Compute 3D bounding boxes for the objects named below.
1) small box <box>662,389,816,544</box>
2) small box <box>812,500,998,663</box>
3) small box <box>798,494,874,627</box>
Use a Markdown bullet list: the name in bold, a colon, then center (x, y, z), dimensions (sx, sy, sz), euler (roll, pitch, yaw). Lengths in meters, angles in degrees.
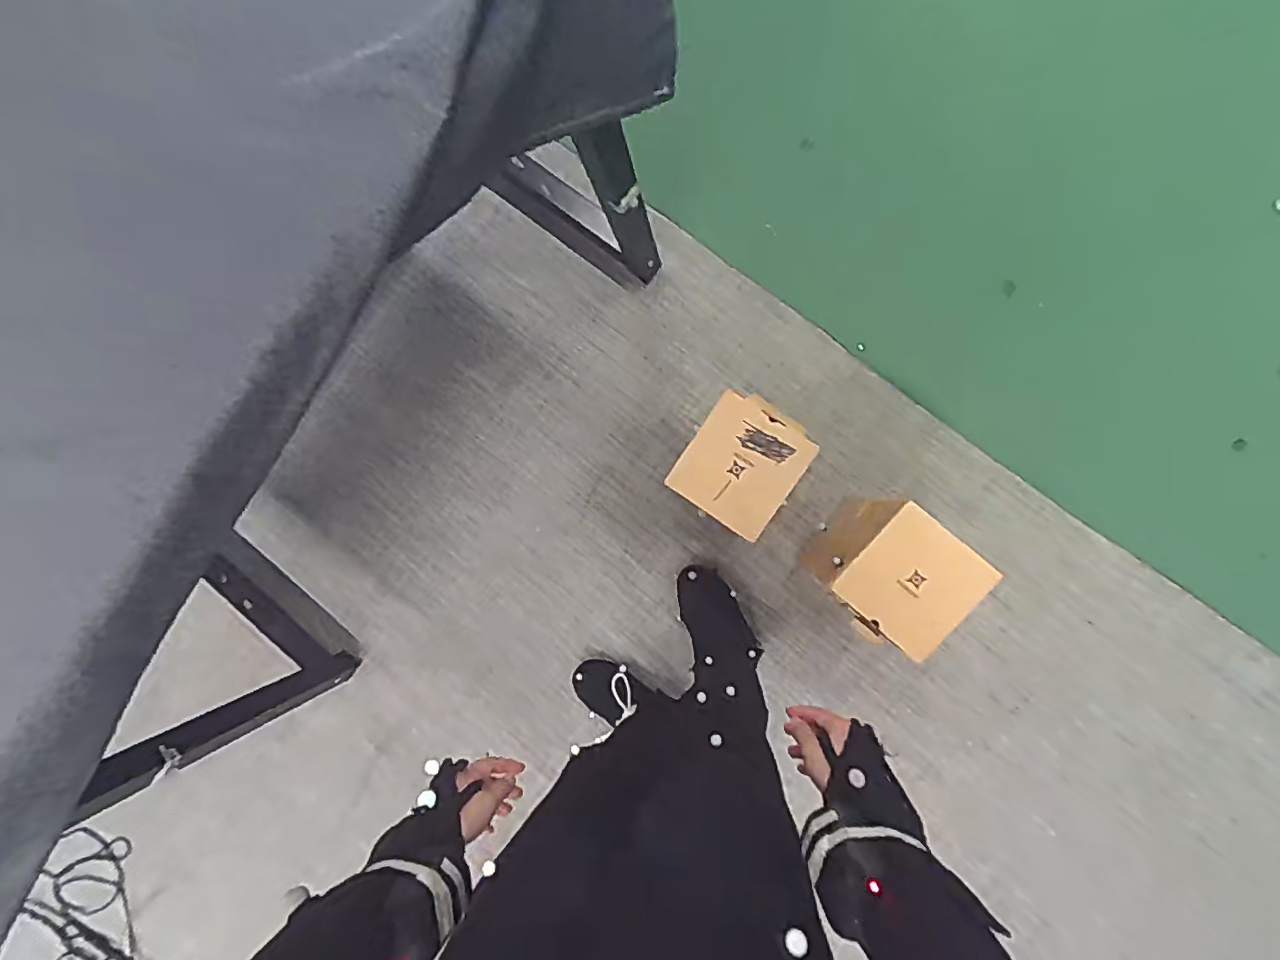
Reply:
- **small box**: center (0.155, -0.021, 0.880), dimensions (0.168, 0.176, 0.179), euler (35, 95, 8)
- **small box**: center (0.394, 0.143, 0.844), dimensions (0.168, 0.176, 0.179), euler (41, 95, 6)
- **small box**: center (0.414, 0.144, 1.006), dimensions (0.168, 0.176, 0.179), euler (40, 96, 6)
